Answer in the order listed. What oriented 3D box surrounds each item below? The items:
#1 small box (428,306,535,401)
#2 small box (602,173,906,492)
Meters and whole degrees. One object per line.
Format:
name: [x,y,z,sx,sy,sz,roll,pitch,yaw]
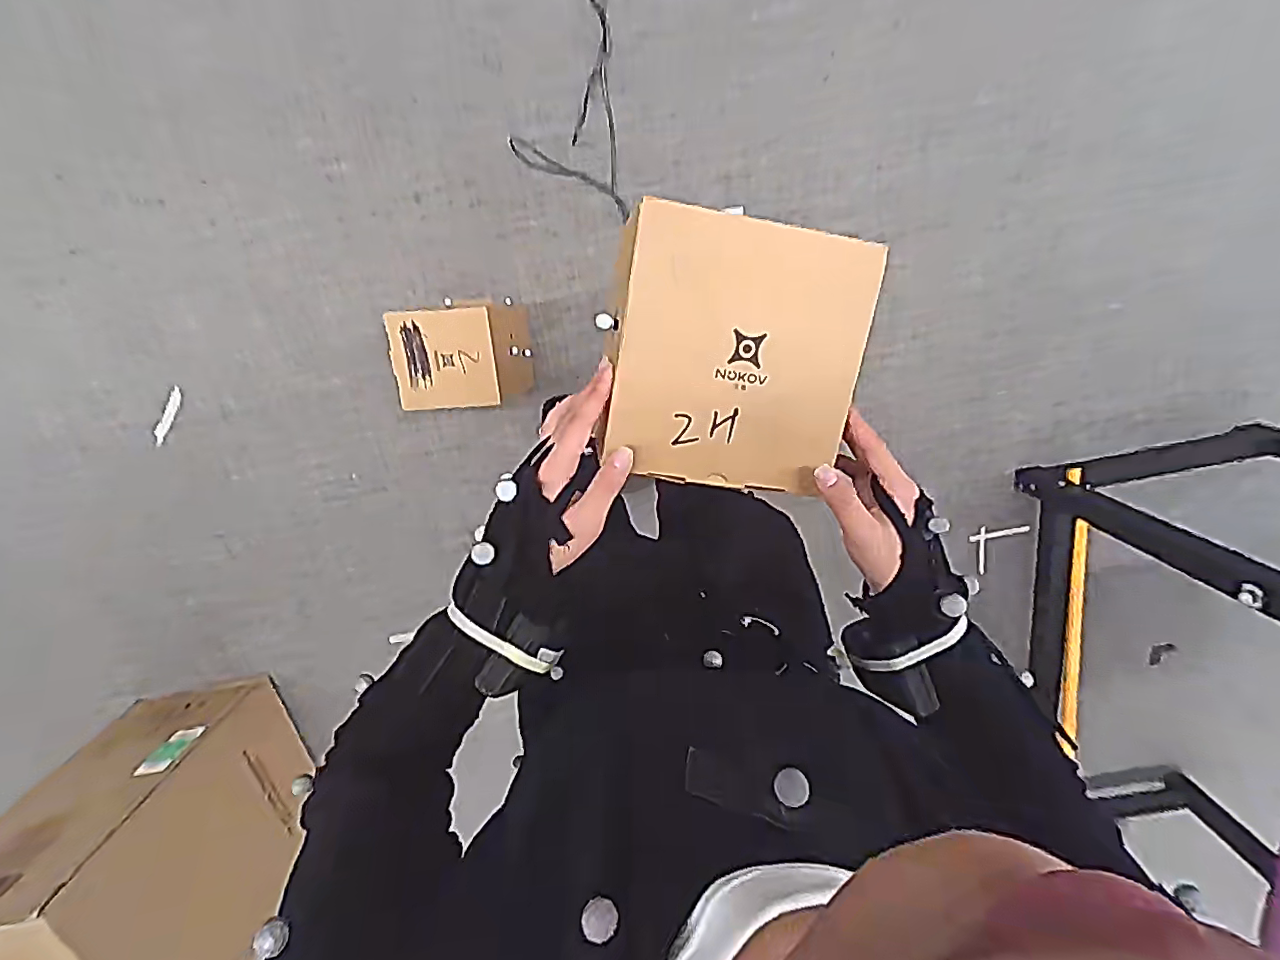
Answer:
small box: [-0.323,-0.271,1.135,0.168,0.176,0.179,-3,110,1]
small box: [0.065,-0.106,0.423,0.168,0.176,0.179,8,104,-9]
